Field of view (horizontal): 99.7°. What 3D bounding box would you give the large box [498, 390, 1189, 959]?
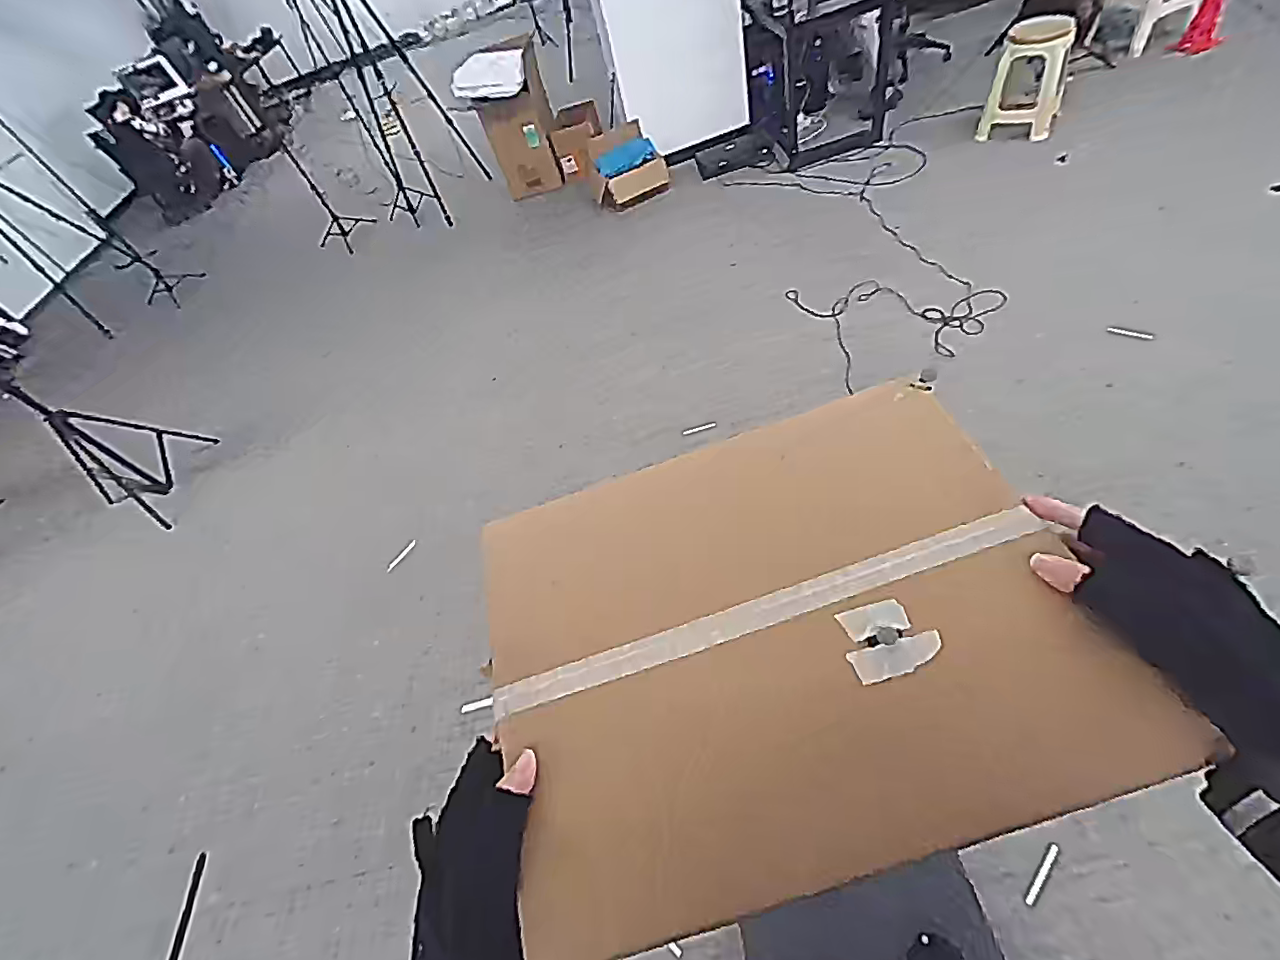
[{"bbox_3d":[0.125,0.183,0.521,0.408,0.320,0.320,-20,54,1],"label":"large box"}]
